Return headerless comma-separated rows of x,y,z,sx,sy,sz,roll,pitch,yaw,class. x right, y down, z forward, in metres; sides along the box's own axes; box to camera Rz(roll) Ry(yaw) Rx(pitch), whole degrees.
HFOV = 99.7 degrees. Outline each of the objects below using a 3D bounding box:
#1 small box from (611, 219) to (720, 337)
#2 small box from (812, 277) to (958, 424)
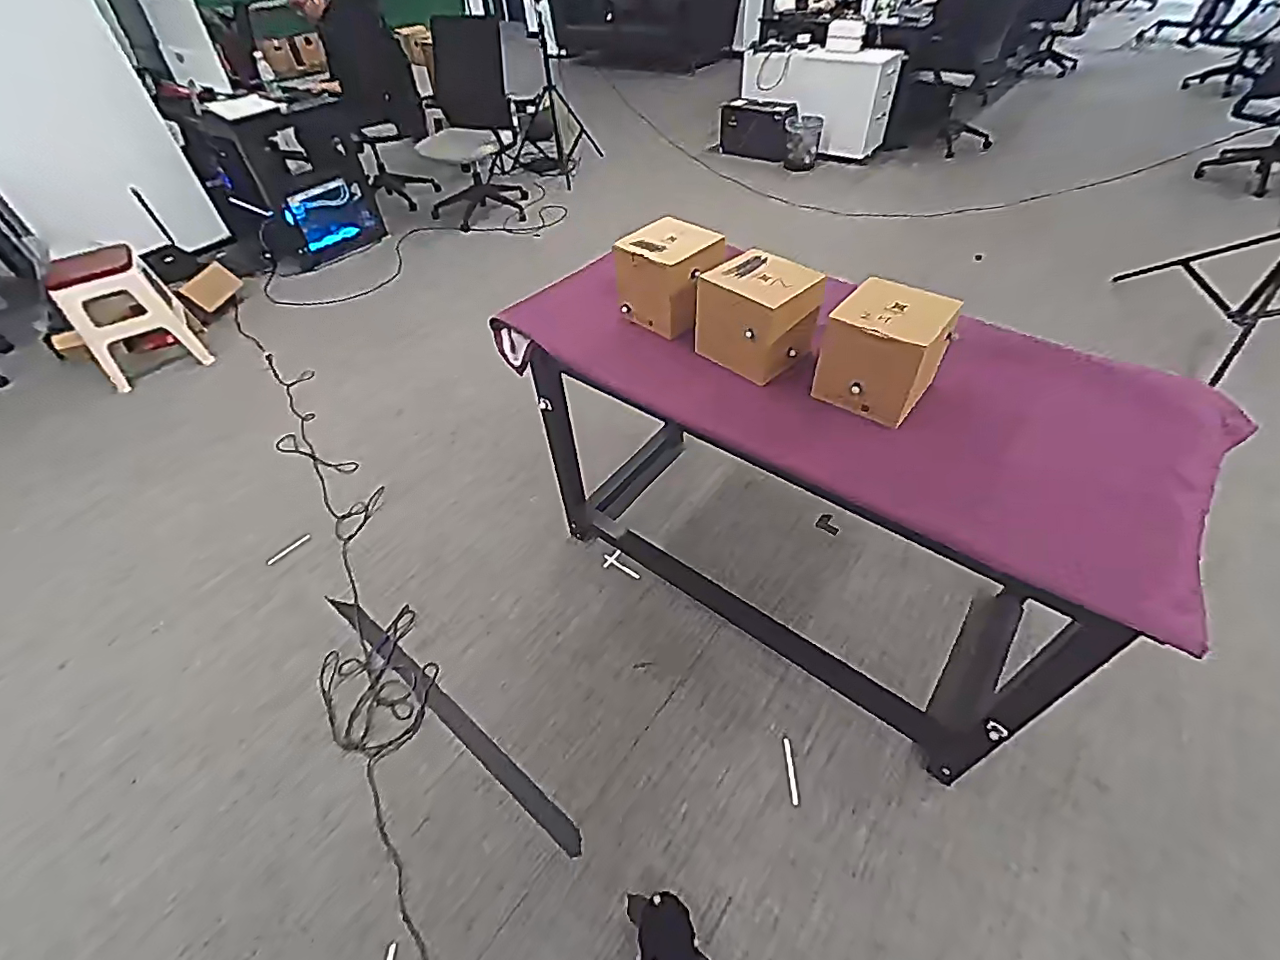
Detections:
0.059,-0.441,1.187,0.168,0.176,0.179,34,58,30,small box
0.428,-0.232,0.966,0.168,0.176,0.179,29,55,28,small box
